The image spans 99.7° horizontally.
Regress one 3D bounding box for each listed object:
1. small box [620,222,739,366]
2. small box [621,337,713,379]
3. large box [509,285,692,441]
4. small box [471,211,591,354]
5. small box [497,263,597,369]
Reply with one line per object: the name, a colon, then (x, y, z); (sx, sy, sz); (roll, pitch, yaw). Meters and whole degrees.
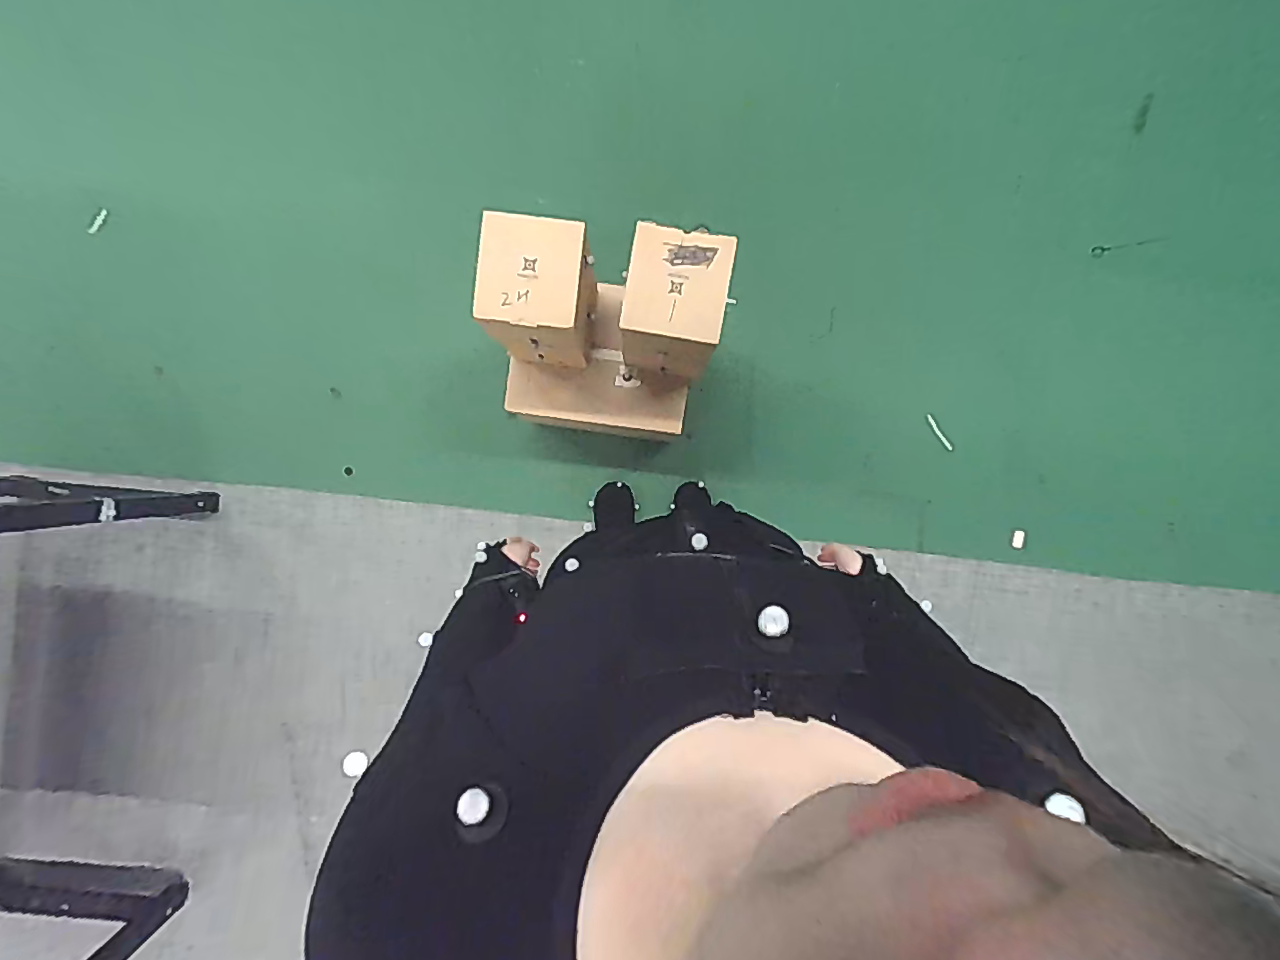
small box: (0.063, -0.310, 0.933); (0.168, 0.176, 0.179); (10, 91, 1)
small box: (0.066, -0.310, 1.098); (0.179, 0.176, 0.168); (12, 90, 0)
large box: (-0.083, -0.277, 1.343); (0.408, 0.320, 0.320); (7, 91, -1)
small box: (-0.178, -0.332, 0.935); (0.168, 0.176, 0.179); (7, 91, 0)
small box: (-0.181, -0.337, 1.100); (0.168, 0.176, 0.179); (8, 91, -1)
